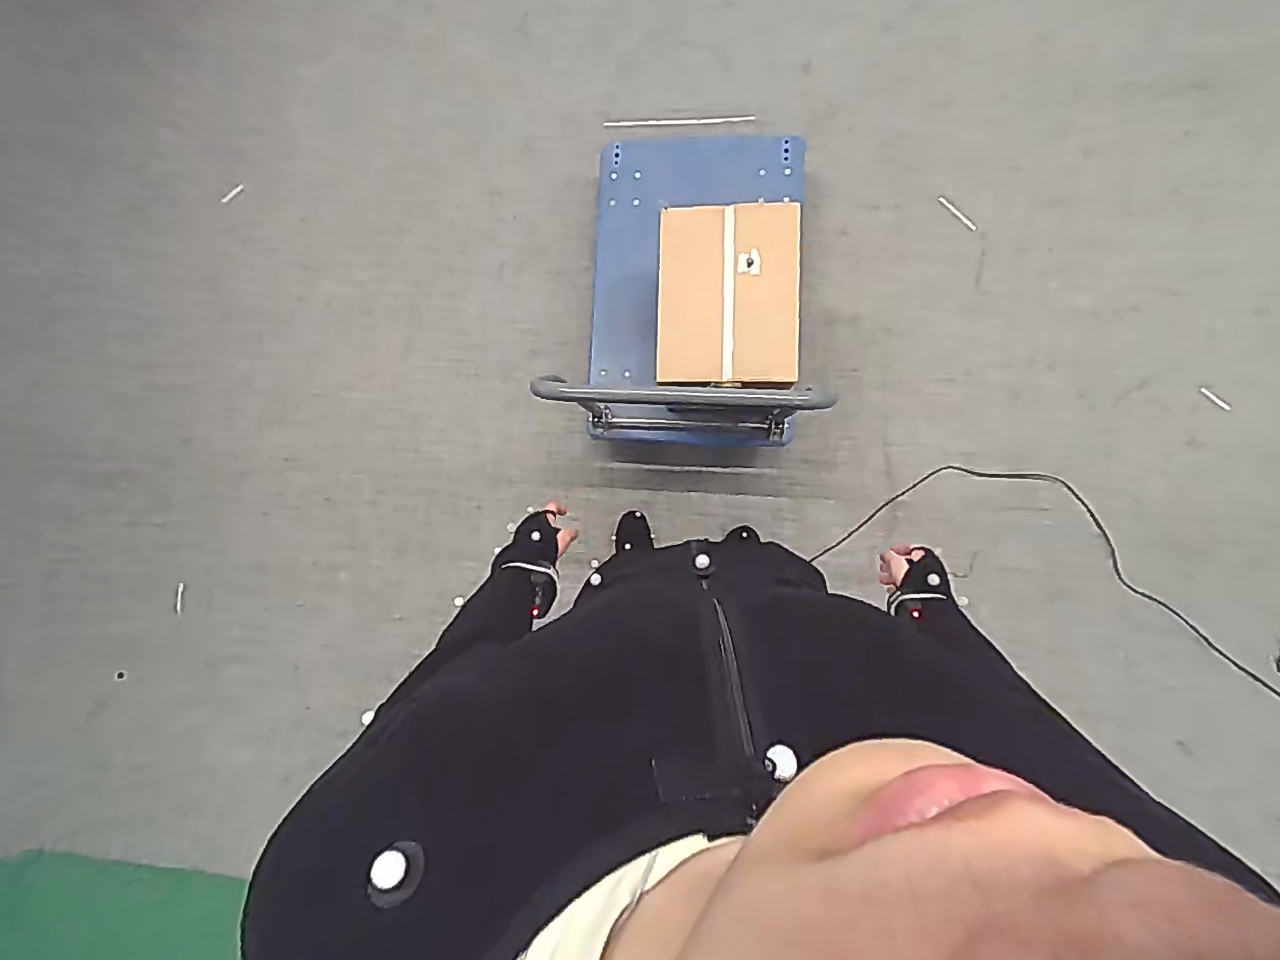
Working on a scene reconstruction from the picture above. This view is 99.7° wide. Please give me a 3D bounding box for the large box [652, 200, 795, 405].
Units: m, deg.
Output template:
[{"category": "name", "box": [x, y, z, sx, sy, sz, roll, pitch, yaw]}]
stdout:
[{"category": "large box", "box": [0.202, -0.412, 1.343, 0.320, 0.320, 0.408, 1, 87, 6]}]
